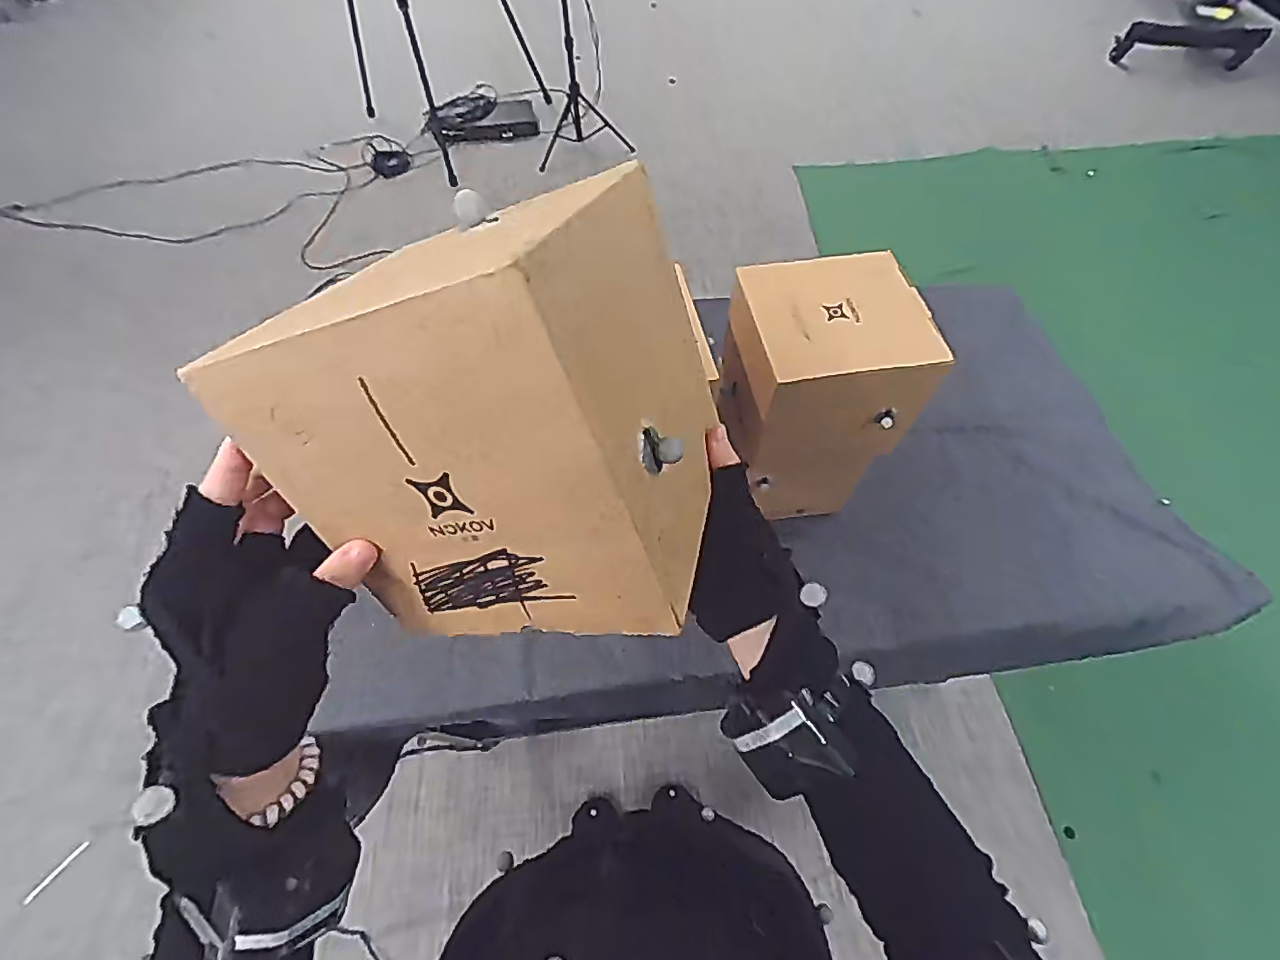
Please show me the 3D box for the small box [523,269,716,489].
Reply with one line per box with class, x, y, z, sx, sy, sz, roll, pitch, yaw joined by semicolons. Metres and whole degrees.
small box;-0.023;-0.105;0.614;0.179;0.176;0.168;-11;61;-4
